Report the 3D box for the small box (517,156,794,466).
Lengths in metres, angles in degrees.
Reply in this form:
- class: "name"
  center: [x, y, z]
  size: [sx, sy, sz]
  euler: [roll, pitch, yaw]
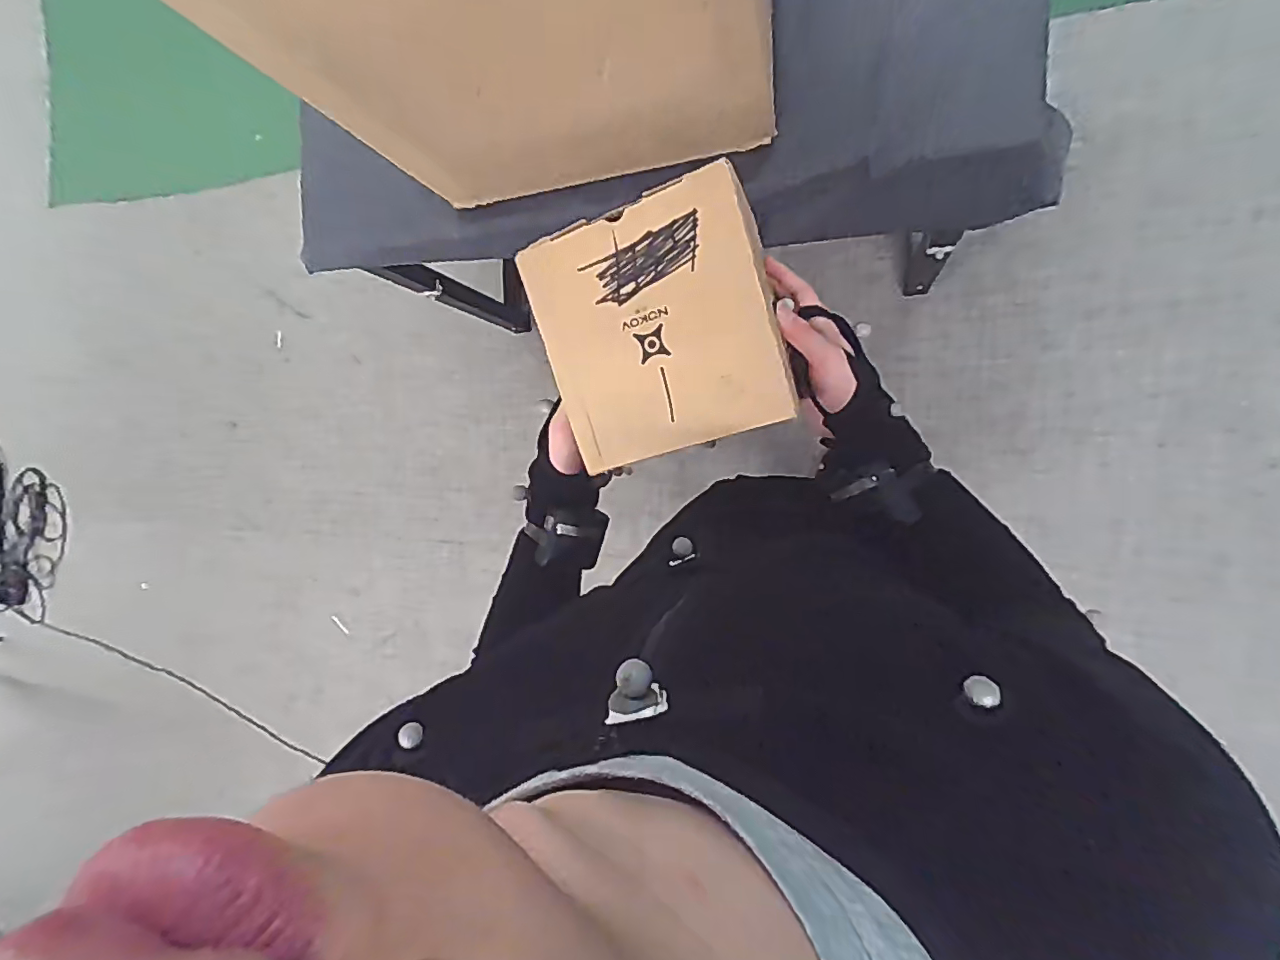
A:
- class: "small box"
  center: [0.028, -0.127, 0.458]
  size: [0.168, 0.176, 0.179]
  euler: [-14, 99, 20]
